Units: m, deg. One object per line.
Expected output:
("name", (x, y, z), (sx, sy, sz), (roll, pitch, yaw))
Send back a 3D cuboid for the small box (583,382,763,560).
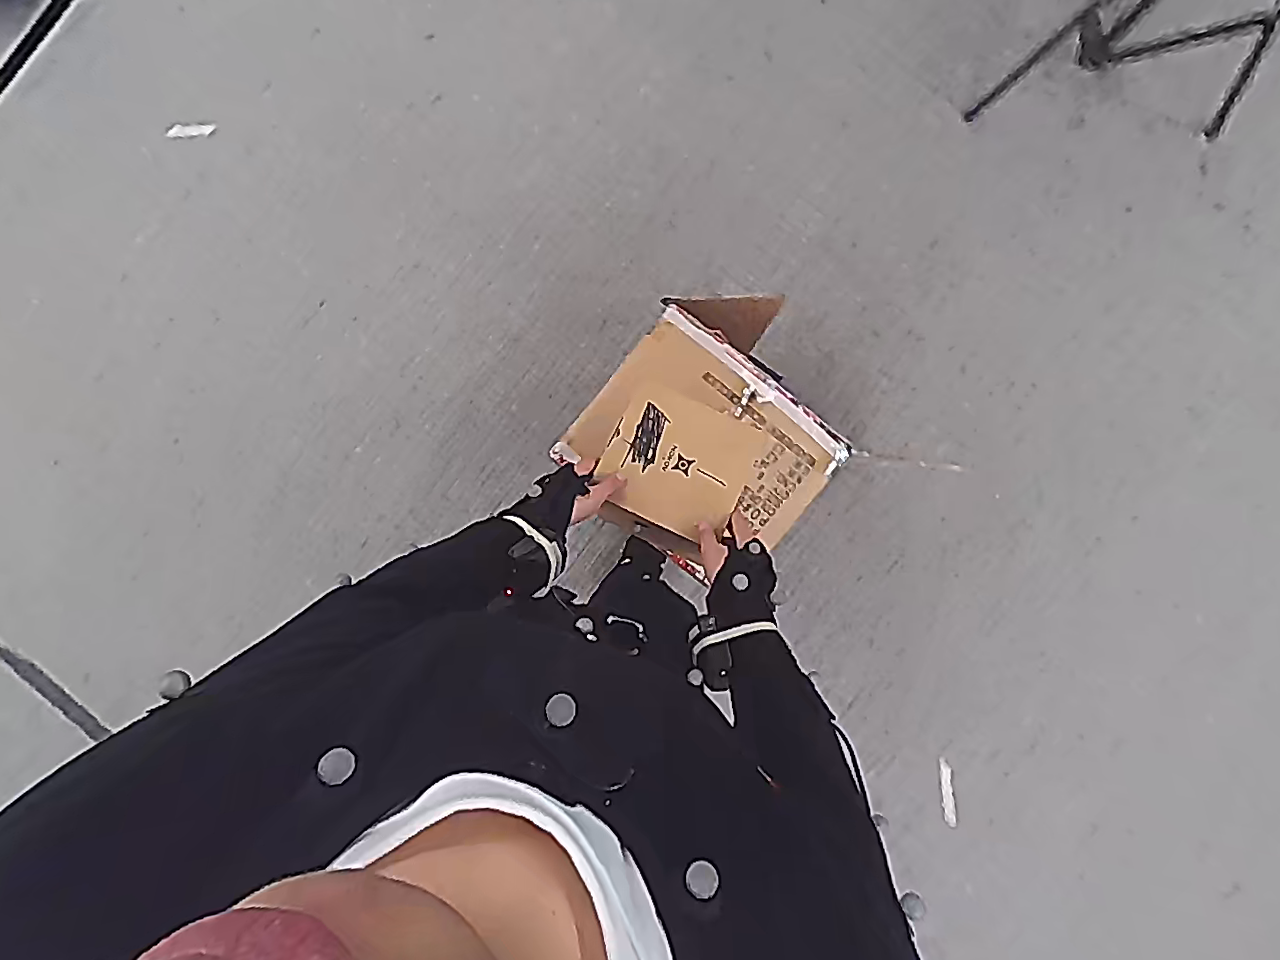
("small box", (0.043, -0.001, 0.737), (0.179, 0.176, 0.168), (24, 78, 7))
